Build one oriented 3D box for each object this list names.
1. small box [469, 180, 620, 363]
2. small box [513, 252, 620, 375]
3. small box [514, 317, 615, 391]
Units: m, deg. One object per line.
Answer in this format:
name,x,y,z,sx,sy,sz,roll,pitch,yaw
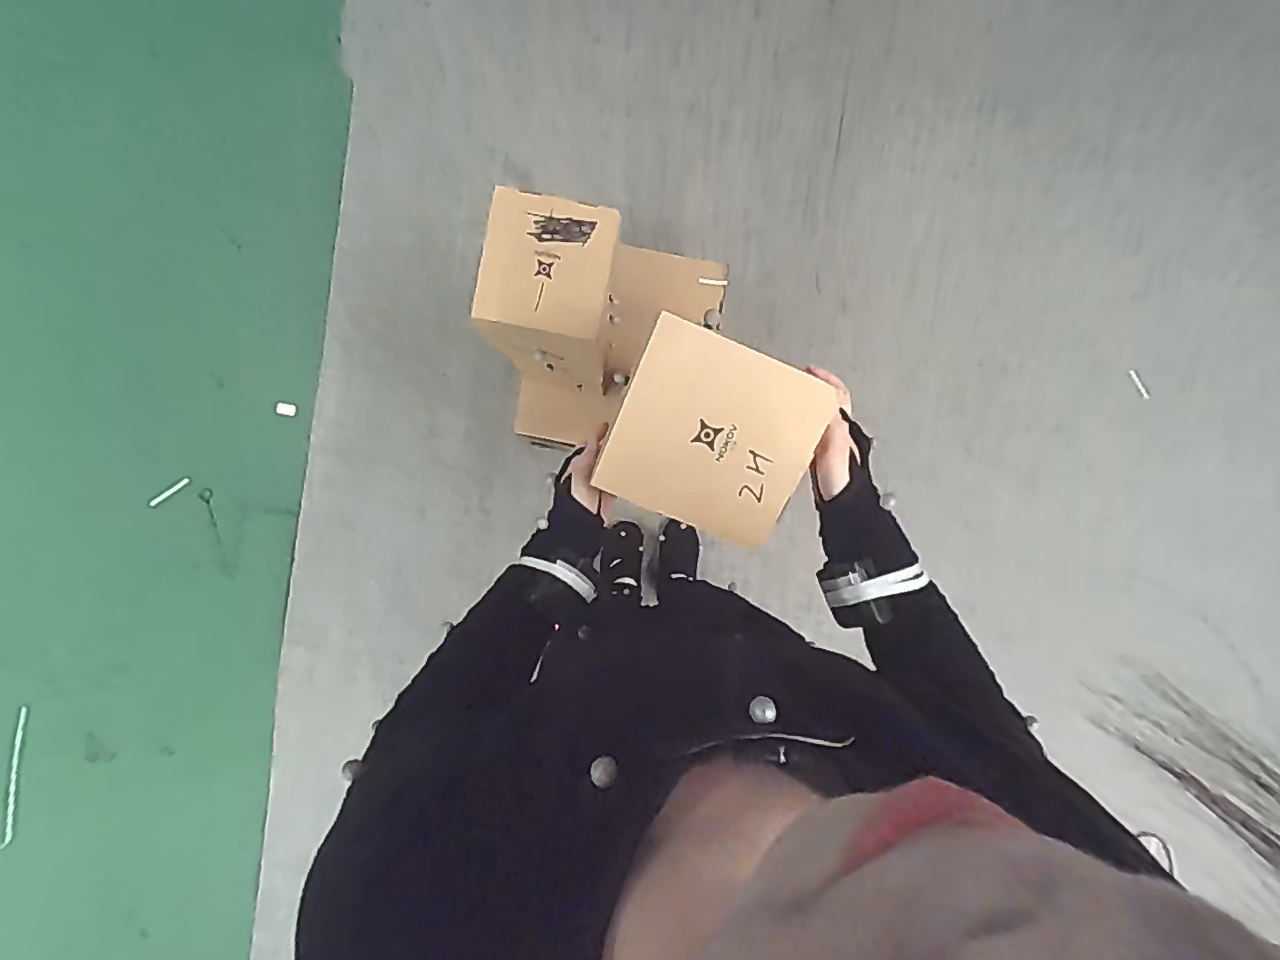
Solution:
small box,-0.126,-0.283,0.769,0.168,0.176,0.179,11,89,-2
small box,-0.132,-0.293,0.933,0.168,0.176,0.179,10,90,-3
small box,-0.145,-0.288,1.096,0.168,0.176,0.179,10,88,-2
